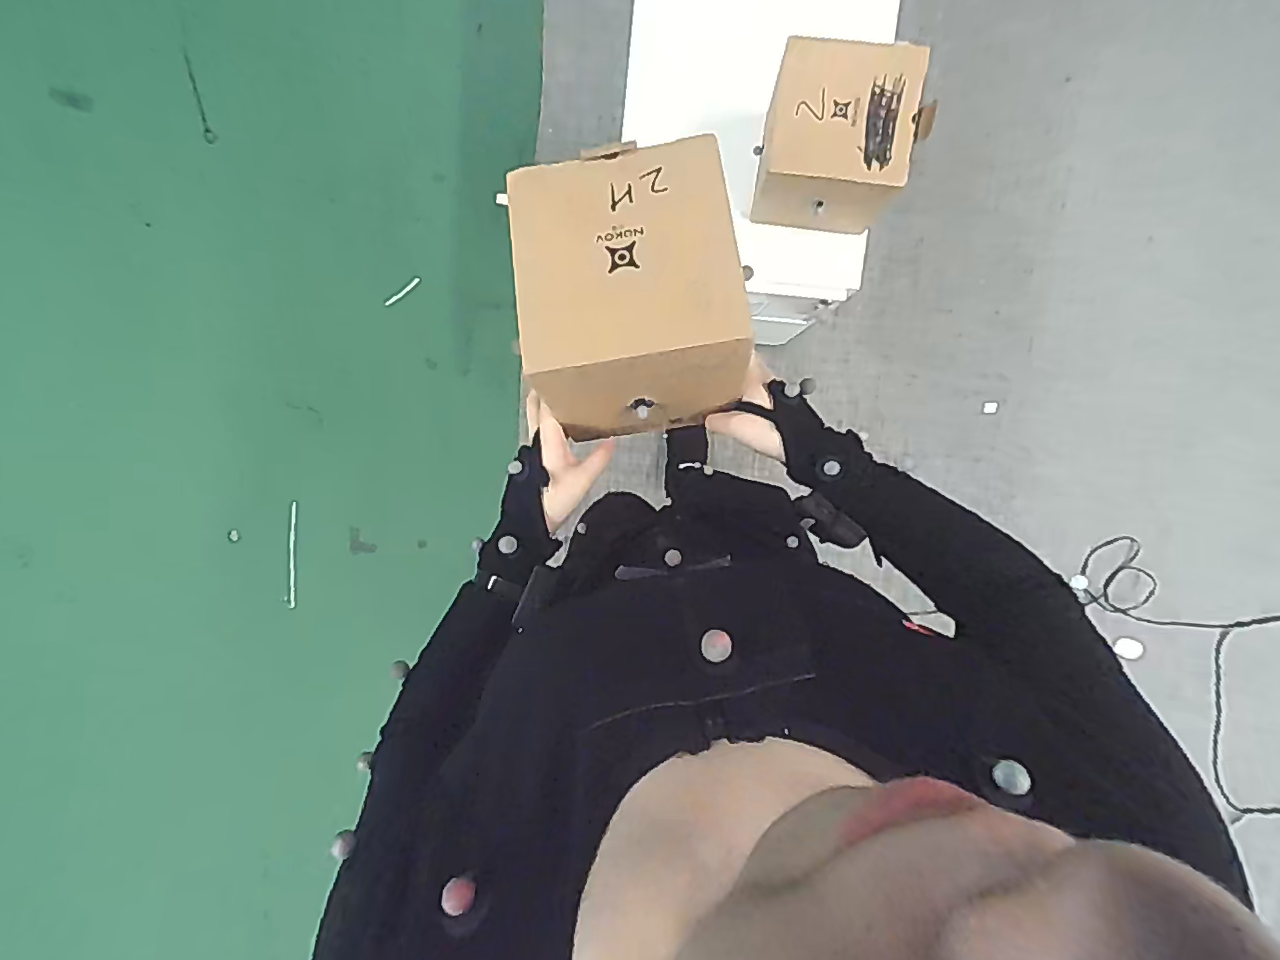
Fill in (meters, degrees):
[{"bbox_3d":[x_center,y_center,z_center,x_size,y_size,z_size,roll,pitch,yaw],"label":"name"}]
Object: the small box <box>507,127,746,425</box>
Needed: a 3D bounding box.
[{"bbox_3d":[-0.006,-0.156,0.472,0.168,0.176,0.179,-8,76,3],"label":"small box"}]
